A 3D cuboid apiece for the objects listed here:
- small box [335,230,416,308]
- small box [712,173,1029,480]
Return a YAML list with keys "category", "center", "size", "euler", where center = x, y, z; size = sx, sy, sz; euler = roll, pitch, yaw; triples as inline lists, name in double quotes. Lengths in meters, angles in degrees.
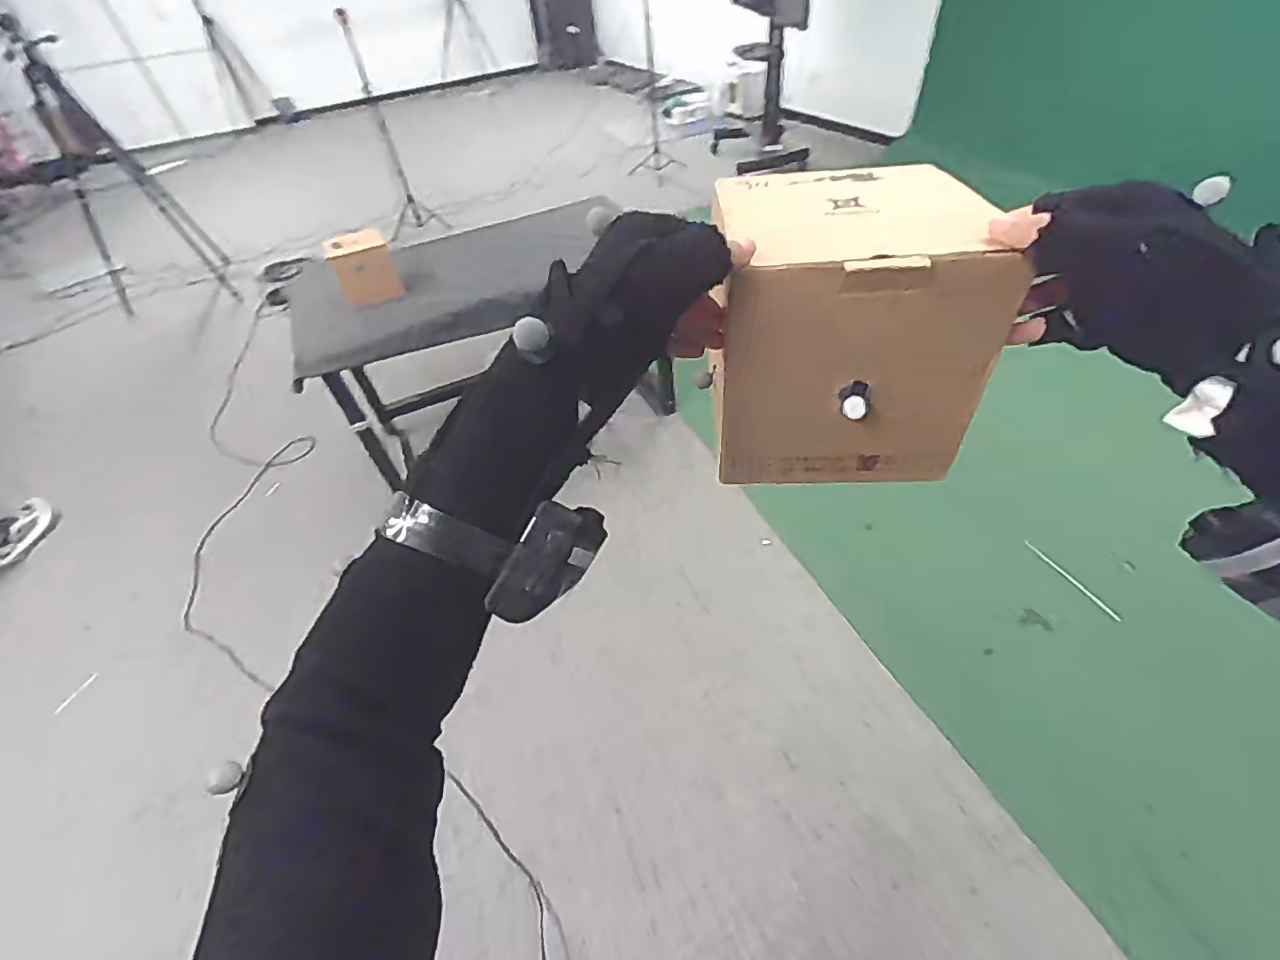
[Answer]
- category: "small box"
  center: [-0.843, -0.672, 1.727]
  size: [0.179, 0.176, 0.168]
  euler: [-22, 47, -15]
- category: "small box"
  center: [0.141, -0.112, 0.412]
  size: [0.168, 0.176, 0.179]
  euler: [-1, 43, 4]
